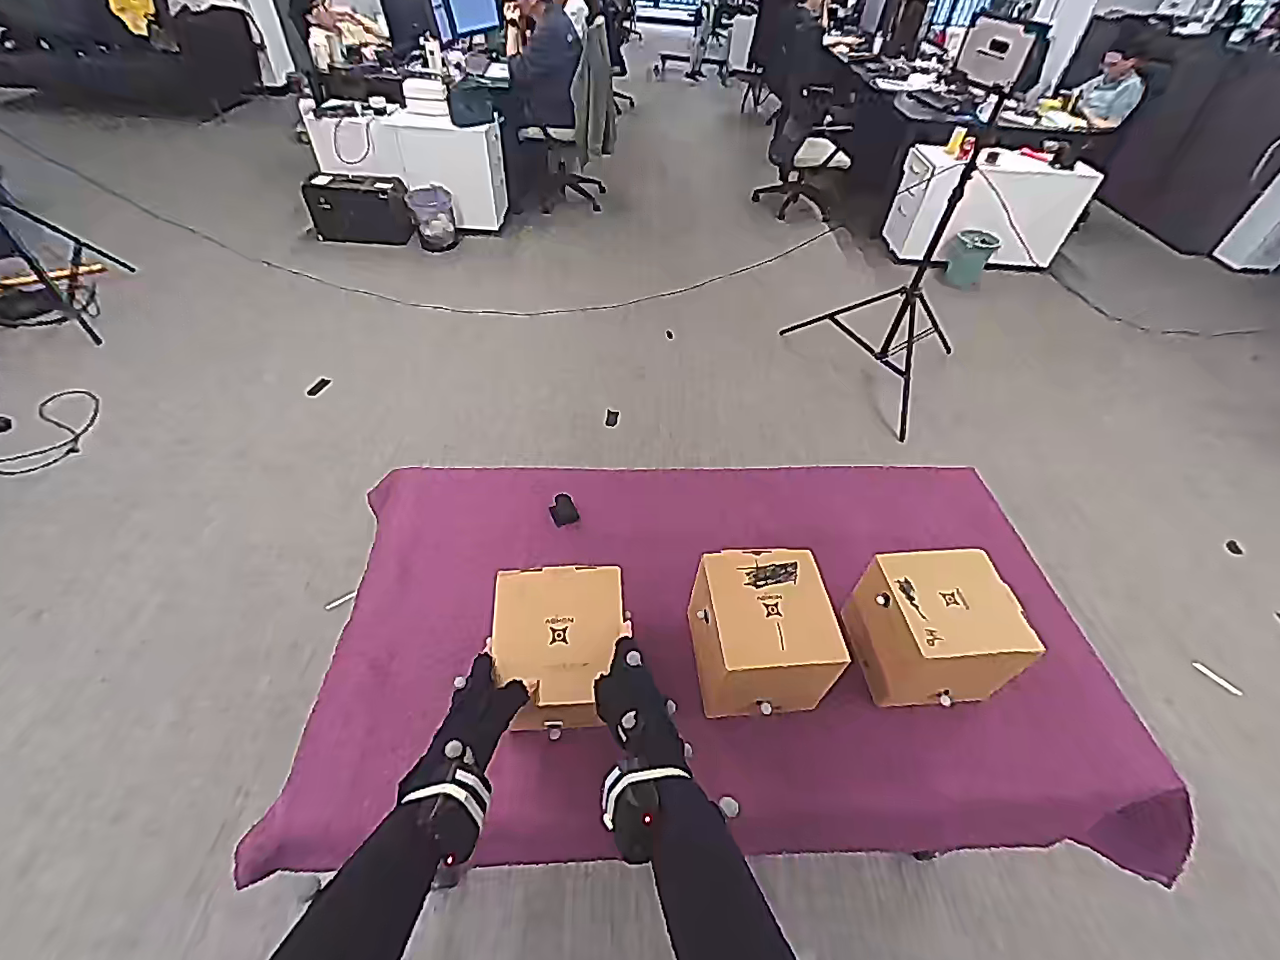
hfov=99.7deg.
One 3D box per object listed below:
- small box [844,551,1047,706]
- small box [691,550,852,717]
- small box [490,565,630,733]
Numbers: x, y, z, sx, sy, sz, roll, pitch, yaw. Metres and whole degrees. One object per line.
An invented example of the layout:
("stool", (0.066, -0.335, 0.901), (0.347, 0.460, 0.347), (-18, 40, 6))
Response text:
("small box", (0.438, 0.222, 0.809), (0.179, 0.176, 0.168), (-1, 46, -6))
("small box", (0.175, 0.223, 0.787), (0.168, 0.176, 0.179), (-2, 47, -6))
("small box", (-0.103, 0.233, 0.740), (0.168, 0.176, 0.179), (-3, 57, -5))
